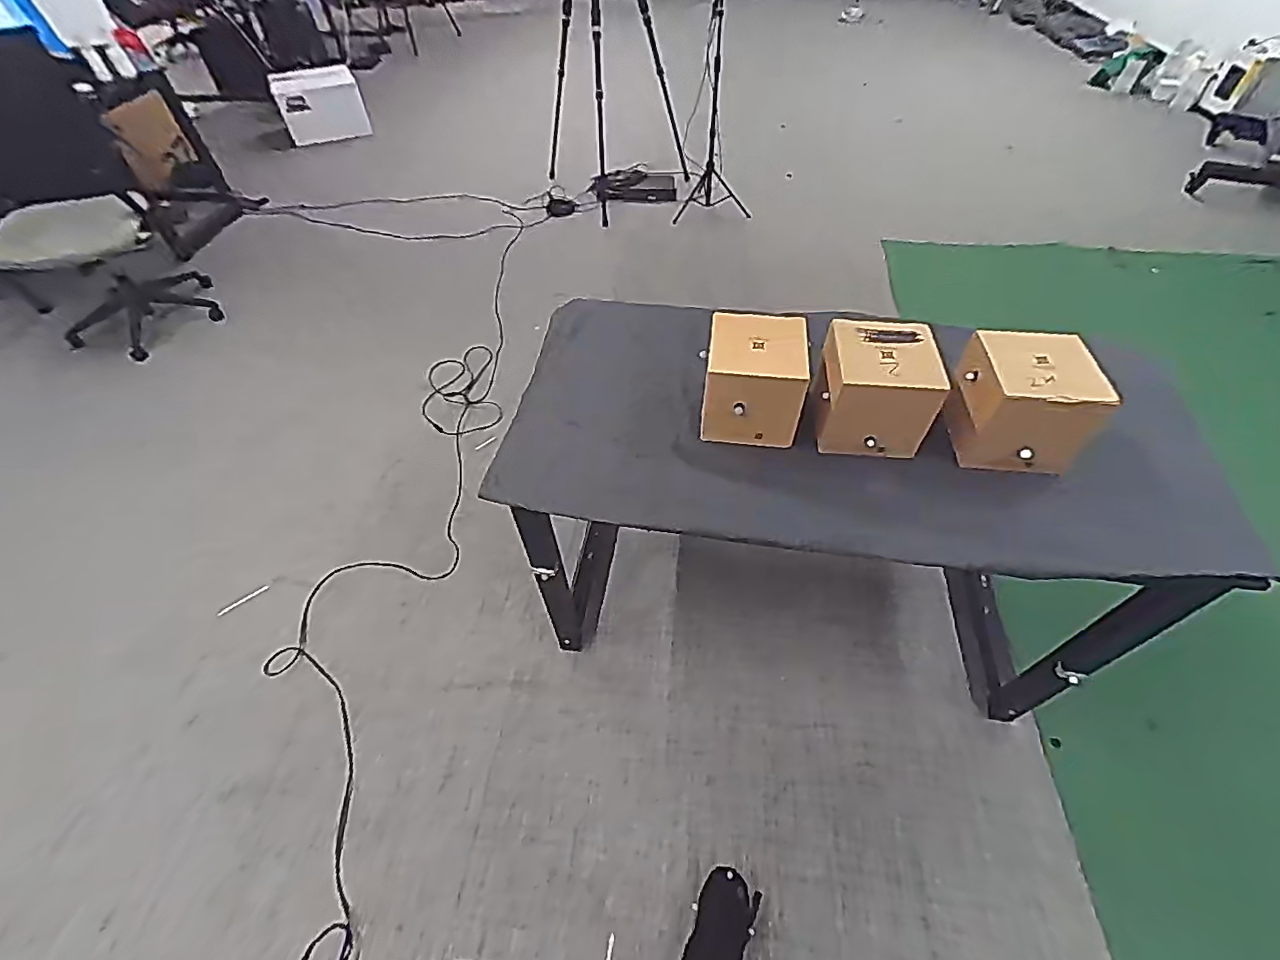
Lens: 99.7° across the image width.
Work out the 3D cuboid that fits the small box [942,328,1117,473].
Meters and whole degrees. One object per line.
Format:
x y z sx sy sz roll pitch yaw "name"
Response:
0.649 -0.137 0.932 0.168 0.176 0.179 5 51 6 "small box"
